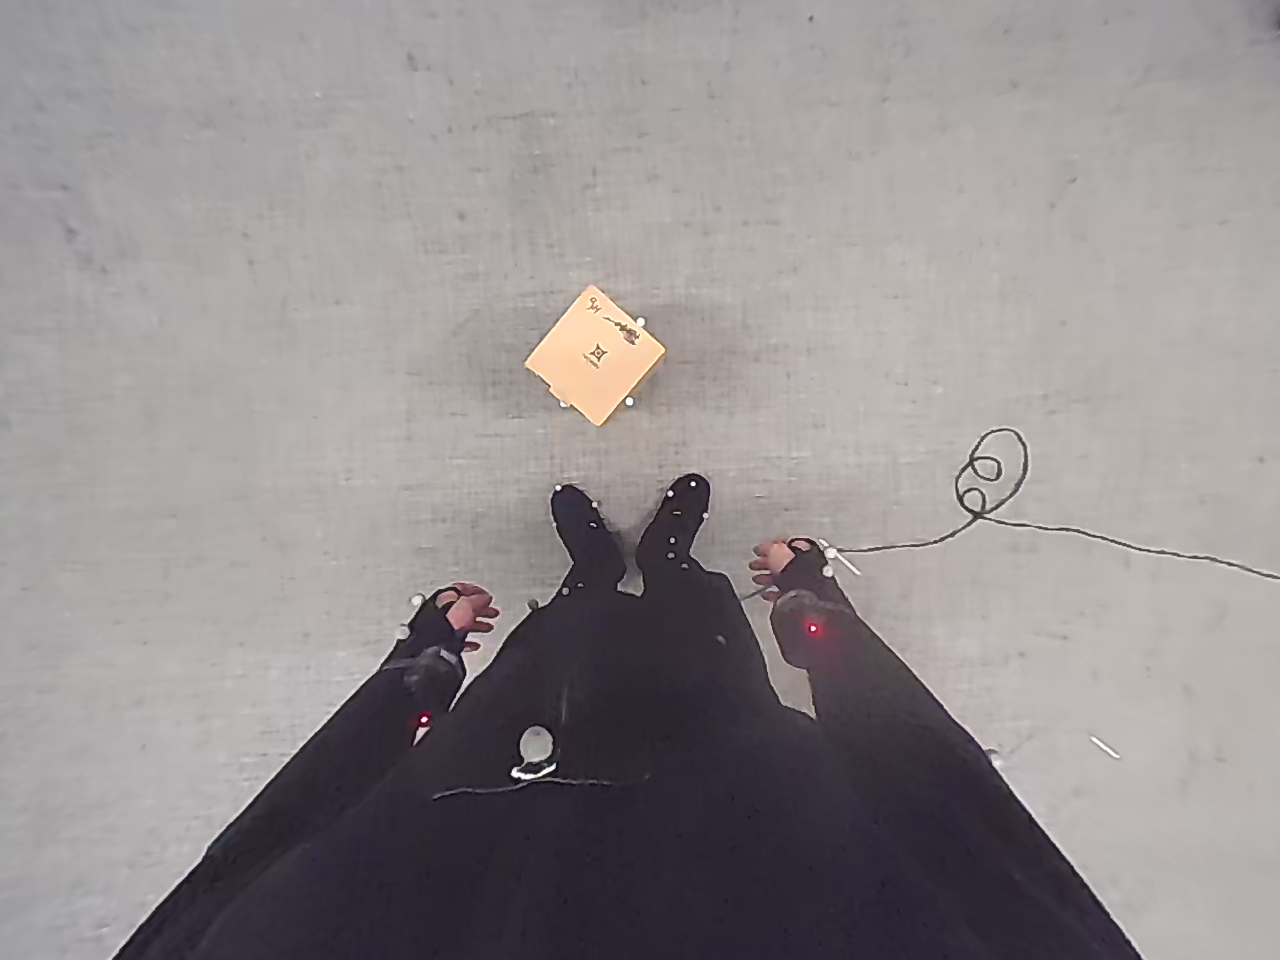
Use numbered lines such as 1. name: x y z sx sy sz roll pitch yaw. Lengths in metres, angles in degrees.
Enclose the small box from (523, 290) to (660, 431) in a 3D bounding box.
1. small box: -0.078 -0.204 0.977 0.168 0.176 0.179 42 95 -3
